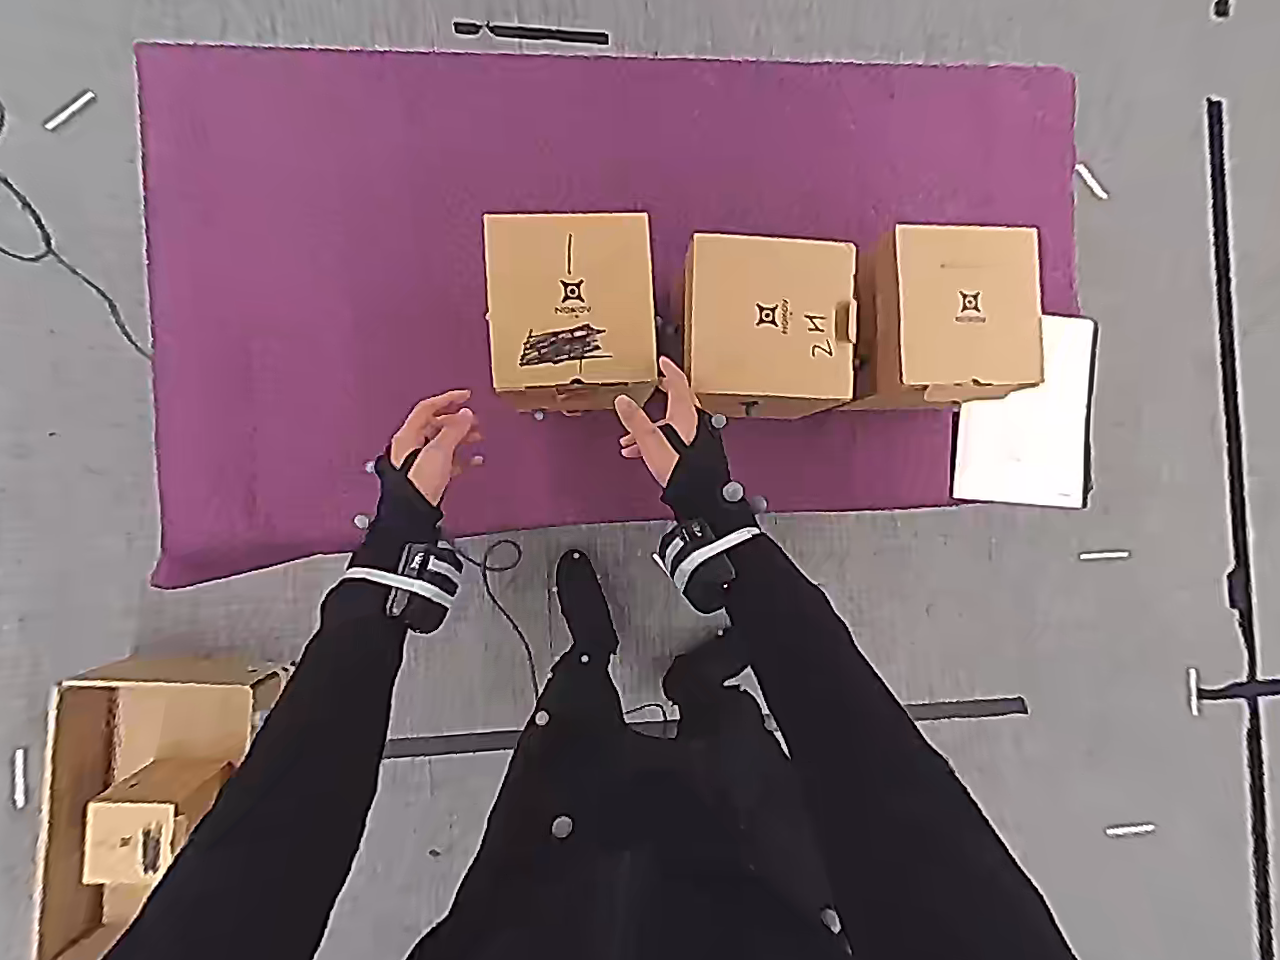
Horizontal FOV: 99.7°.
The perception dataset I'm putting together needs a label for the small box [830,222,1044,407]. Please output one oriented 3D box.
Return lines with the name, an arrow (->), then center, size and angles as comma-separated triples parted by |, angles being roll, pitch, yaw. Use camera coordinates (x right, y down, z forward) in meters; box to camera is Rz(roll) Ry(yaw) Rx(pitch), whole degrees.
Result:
small box -> 0.344, -0.184, 0.655 | 0.168, 0.176, 0.179 | -1, 89, -6
